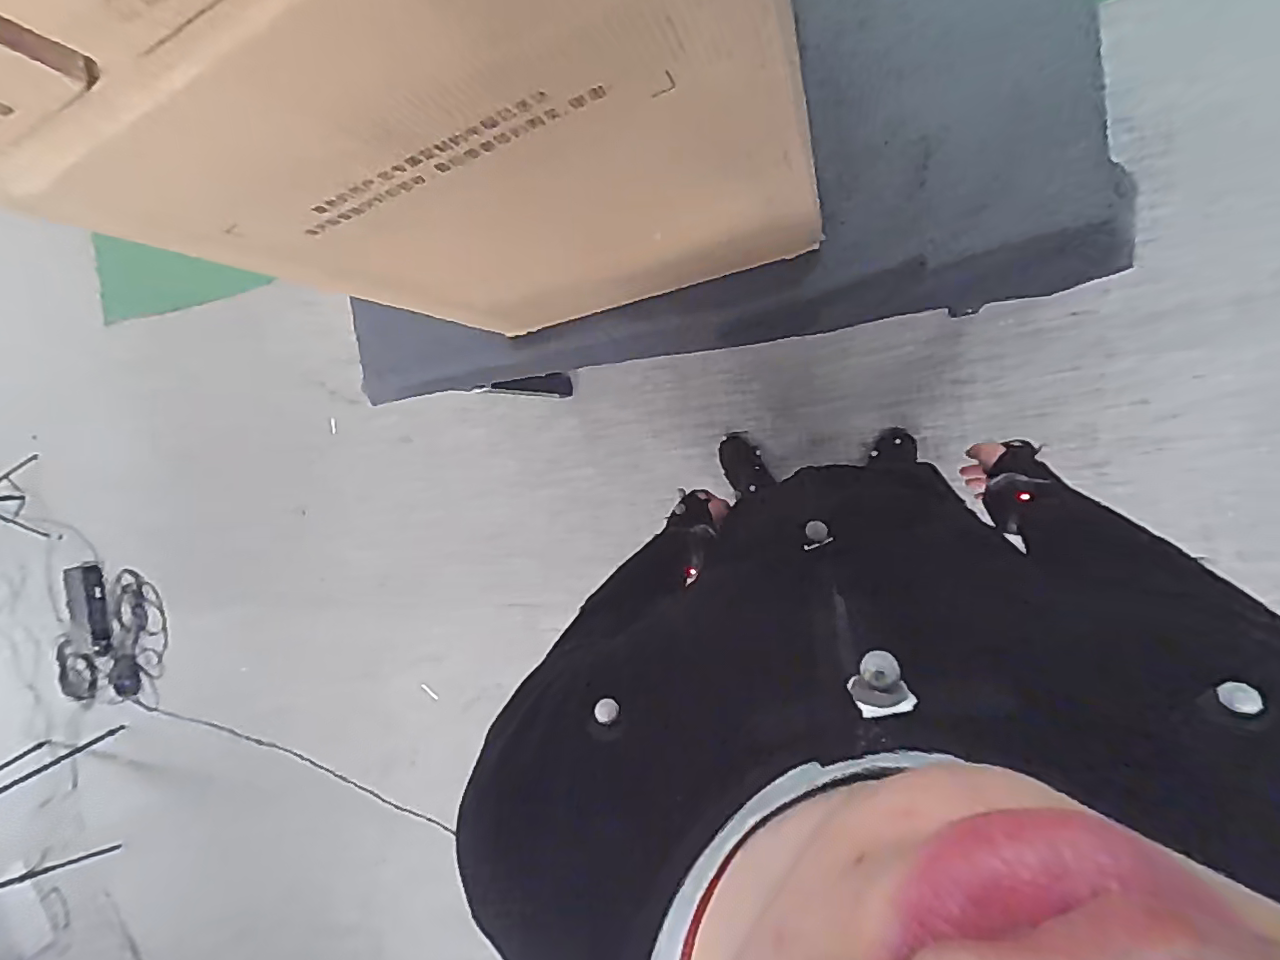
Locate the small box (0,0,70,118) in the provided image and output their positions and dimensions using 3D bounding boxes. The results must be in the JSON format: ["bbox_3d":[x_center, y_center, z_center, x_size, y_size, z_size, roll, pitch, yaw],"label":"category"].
[{"bbox_3d":[-0.431,-0.300,0.260,0.168,0.176,0.179,-7,94,22],"label":"small box"}]
